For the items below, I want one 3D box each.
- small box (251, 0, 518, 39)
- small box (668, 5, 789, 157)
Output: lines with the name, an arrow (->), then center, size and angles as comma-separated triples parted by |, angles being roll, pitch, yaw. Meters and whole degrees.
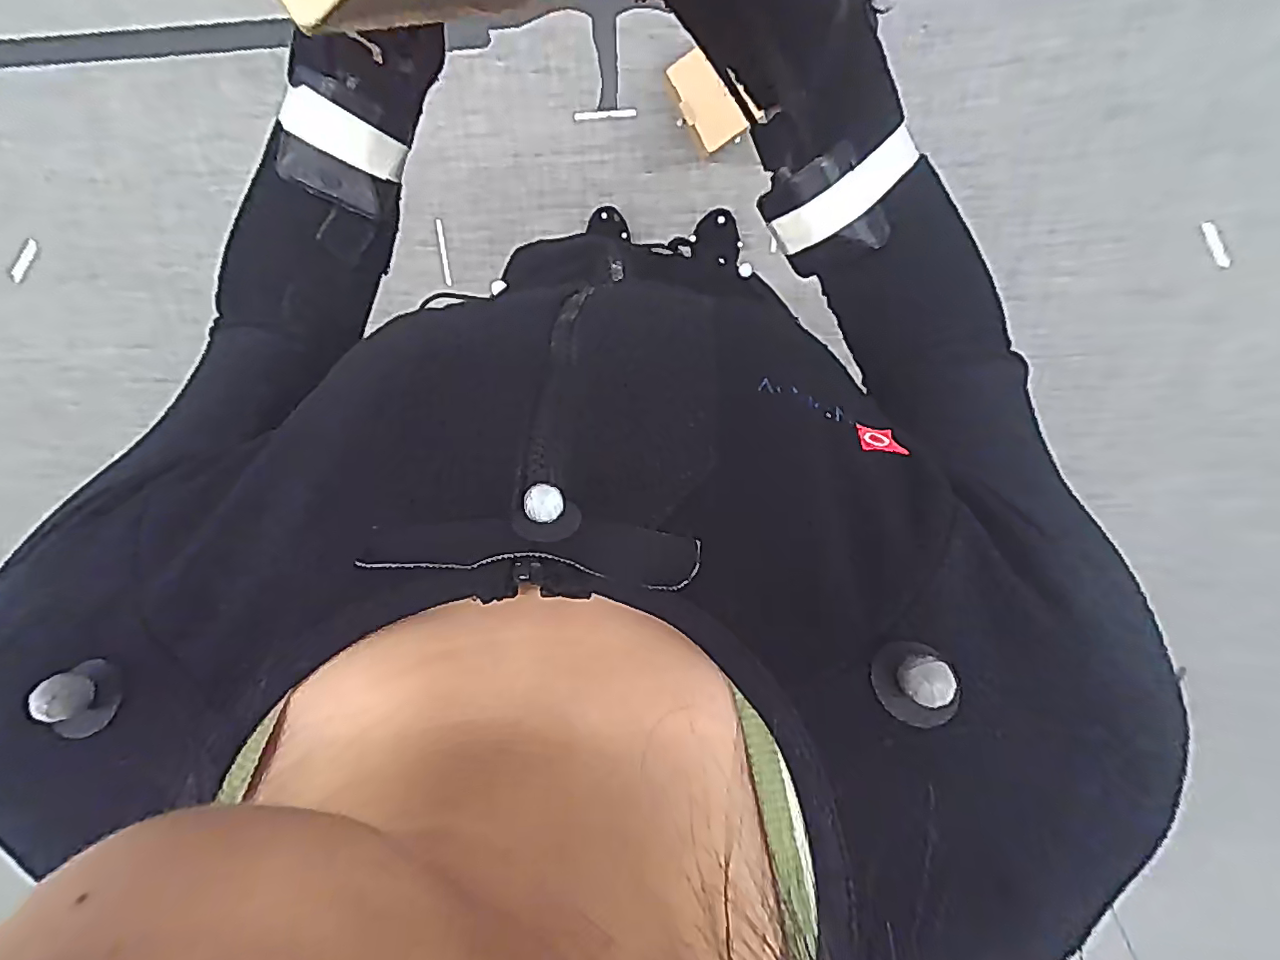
small box -> -0.057, -0.265, 0.144 | 0.179, 0.176, 0.168 | -14, 127, 30
small box -> 0.174, -0.788, 1.095 | 0.179, 0.176, 0.168 | -32, 110, 16
